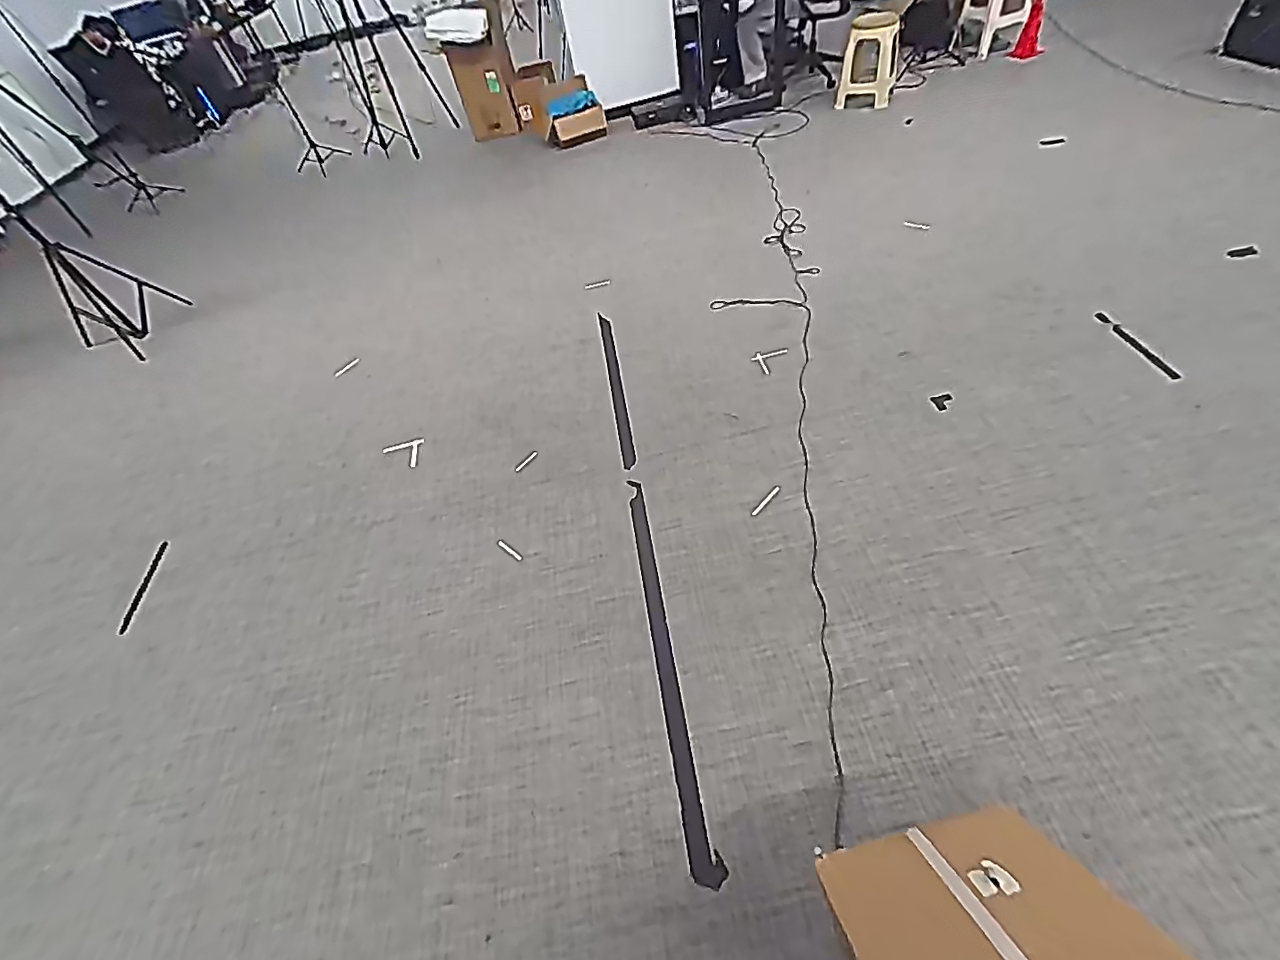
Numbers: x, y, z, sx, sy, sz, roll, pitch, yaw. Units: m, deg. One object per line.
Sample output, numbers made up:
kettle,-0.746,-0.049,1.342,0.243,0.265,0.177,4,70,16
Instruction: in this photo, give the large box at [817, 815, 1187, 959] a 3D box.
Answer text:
large box,0.454,0.681,0.620,0.320,0.408,0.320,-15,85,0
